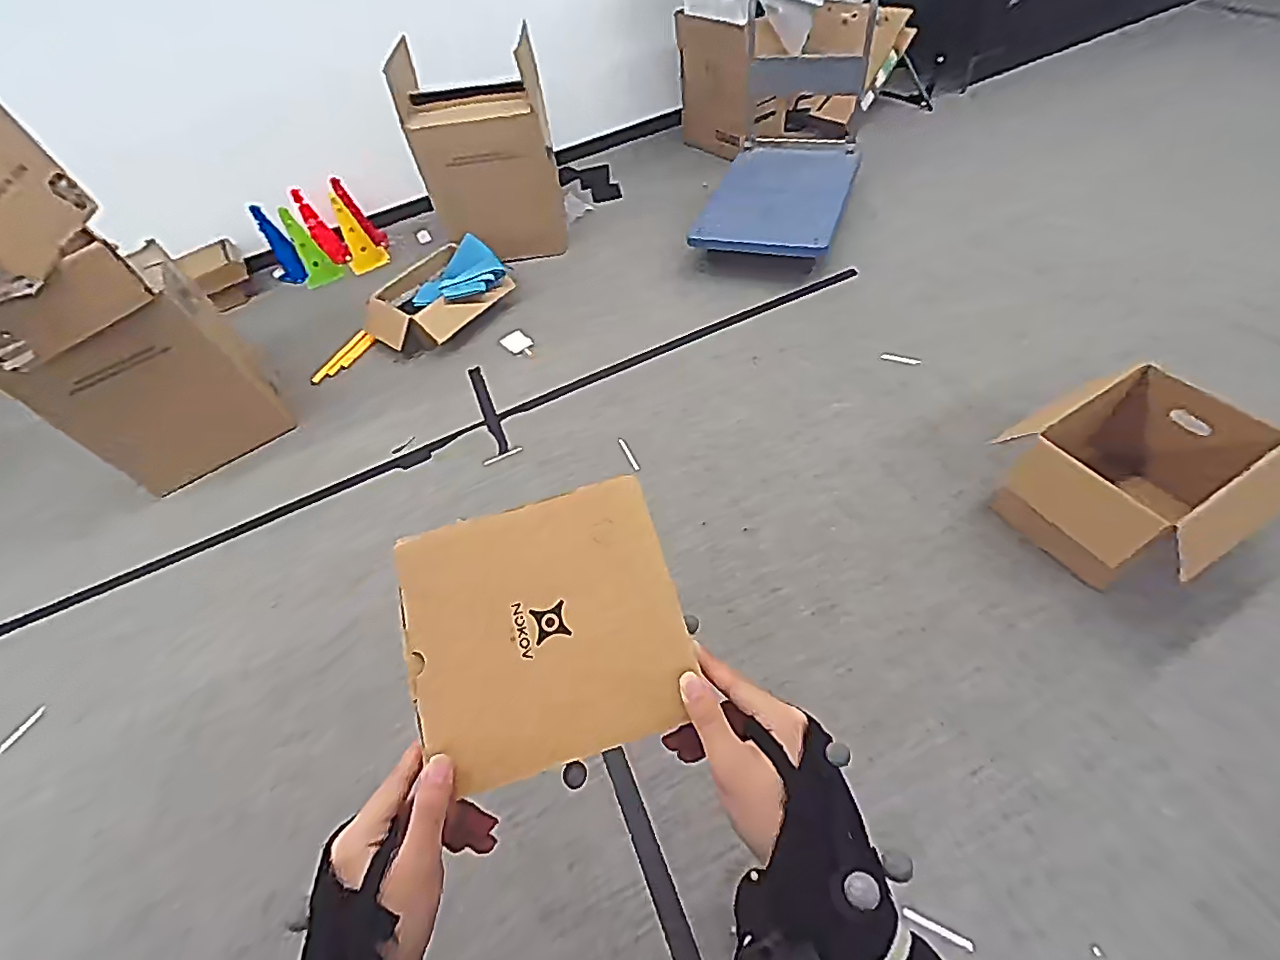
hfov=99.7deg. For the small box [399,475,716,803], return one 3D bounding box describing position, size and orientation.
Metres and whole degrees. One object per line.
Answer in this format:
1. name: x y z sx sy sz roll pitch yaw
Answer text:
1. small box: -0.057 0.119 0.419 0.179 0.176 0.168 -17 69 -4
